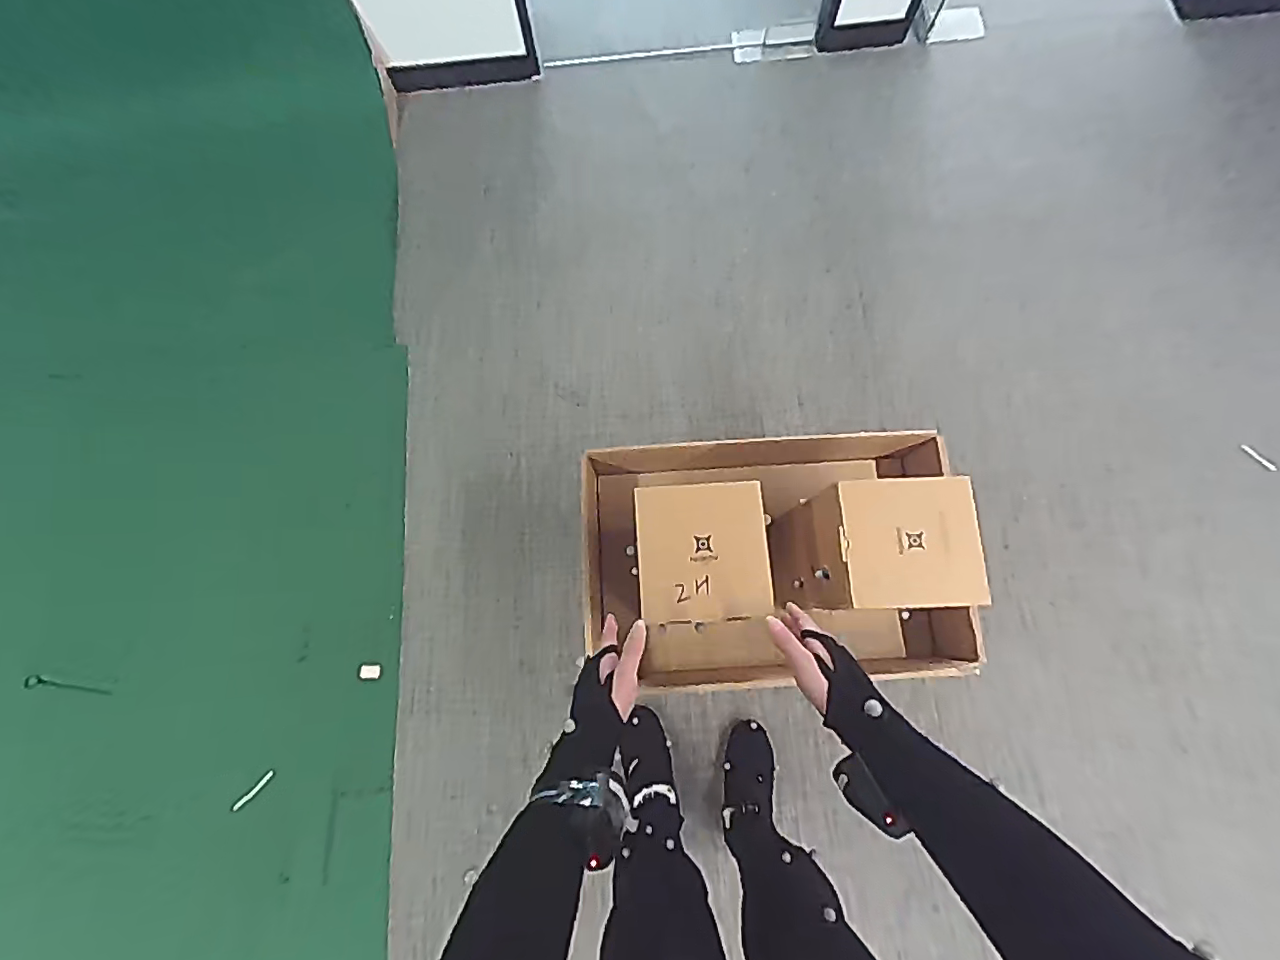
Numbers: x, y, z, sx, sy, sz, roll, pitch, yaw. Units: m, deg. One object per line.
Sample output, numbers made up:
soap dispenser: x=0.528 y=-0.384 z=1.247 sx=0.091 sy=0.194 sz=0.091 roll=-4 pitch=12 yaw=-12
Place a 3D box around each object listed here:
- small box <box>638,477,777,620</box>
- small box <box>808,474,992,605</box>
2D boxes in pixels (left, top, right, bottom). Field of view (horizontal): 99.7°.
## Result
small box: x=0.082 y=0.102 z=0.753 sx=0.168 sy=0.176 sz=0.179 roll=-3 pitch=77 yaw=0
small box: x=0.344 y=0.090 z=0.756 sx=0.179 sy=0.176 sz=0.168 roll=-1 pitch=78 yaw=-1
